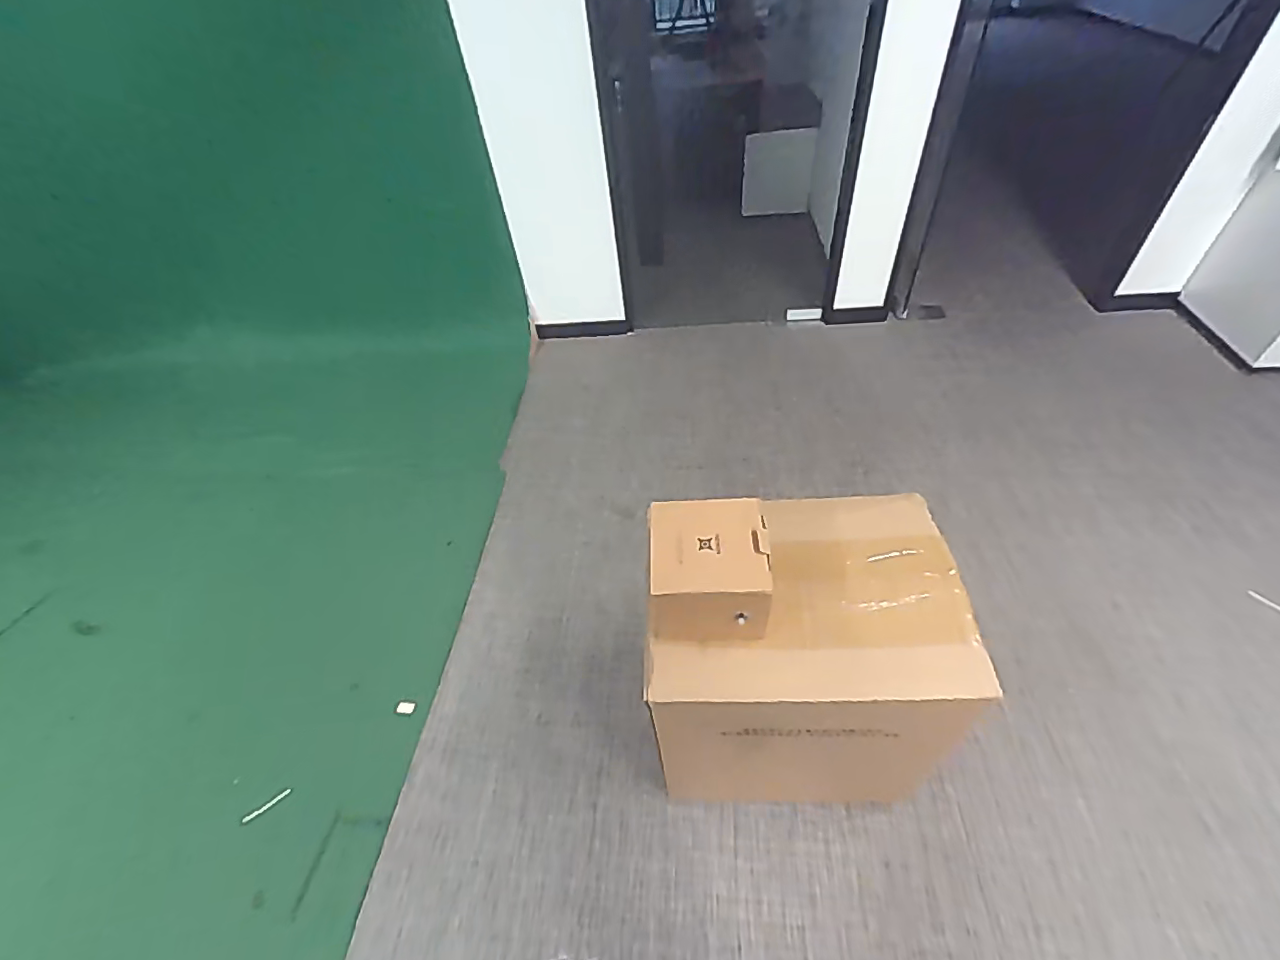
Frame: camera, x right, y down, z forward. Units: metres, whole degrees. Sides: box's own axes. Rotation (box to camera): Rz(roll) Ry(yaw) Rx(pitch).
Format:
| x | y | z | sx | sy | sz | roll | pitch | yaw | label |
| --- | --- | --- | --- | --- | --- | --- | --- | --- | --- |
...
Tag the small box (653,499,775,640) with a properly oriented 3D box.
| x | y | z | sx | sy | sz | roll | pitch | yaw | label |
| --- | --- | --- | --- | --- | --- | --- | --- | --- | --- |
| 0.114 | 0.149 | 0.878 | 0.179 | 0.176 | 0.168 | -4 | 50 | 5 | small box |
